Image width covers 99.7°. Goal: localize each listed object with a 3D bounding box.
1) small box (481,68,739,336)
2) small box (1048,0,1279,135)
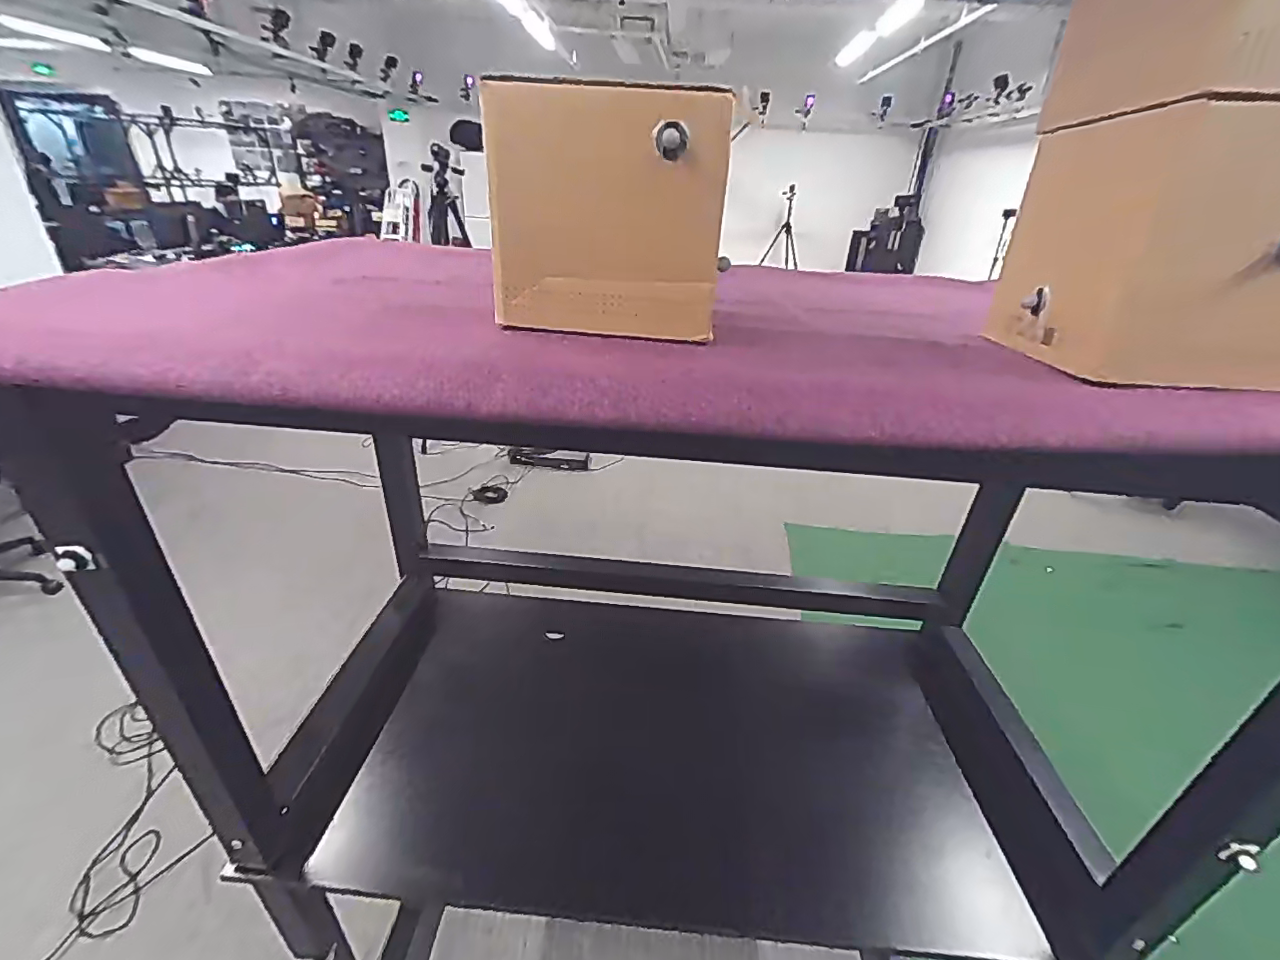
[{"bbox_3d":[-0.018,-0.225,0.459,0.179,0.176,0.168,6,28,3],"label":"small box"},{"bbox_3d":[0.405,-0.320,0.330,0.168,0.176,0.179,4,27,4],"label":"small box"}]
